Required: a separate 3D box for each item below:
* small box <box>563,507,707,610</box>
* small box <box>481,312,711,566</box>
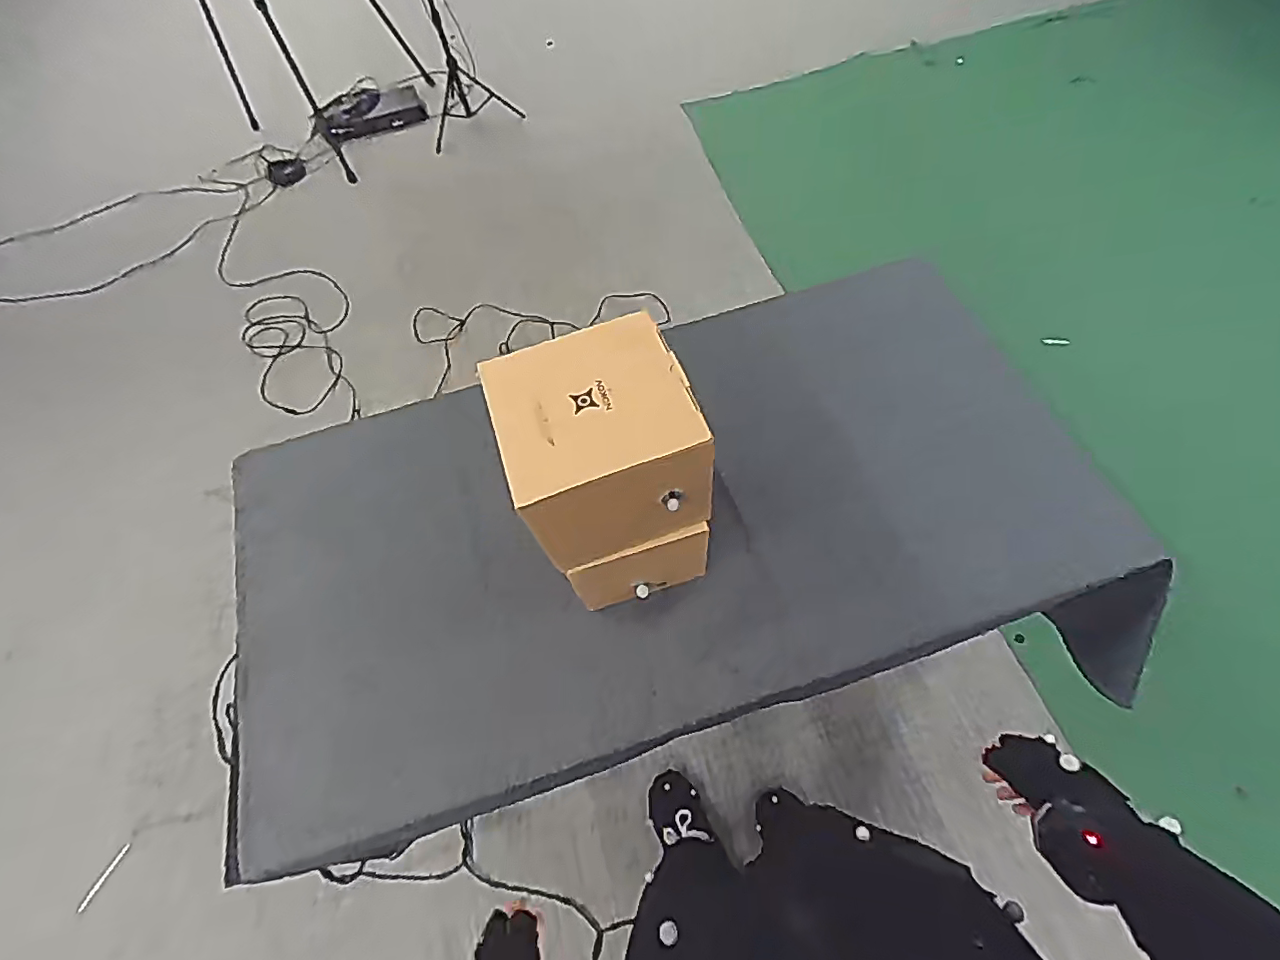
[{"bbox_3d":[-0.021,0.045,0.696,0.168,0.176,0.179,-17,62,-3],"label":"small box"},{"bbox_3d":[-0.040,-0.034,0.554,0.179,0.176,0.168,-19,61,-5],"label":"small box"}]
